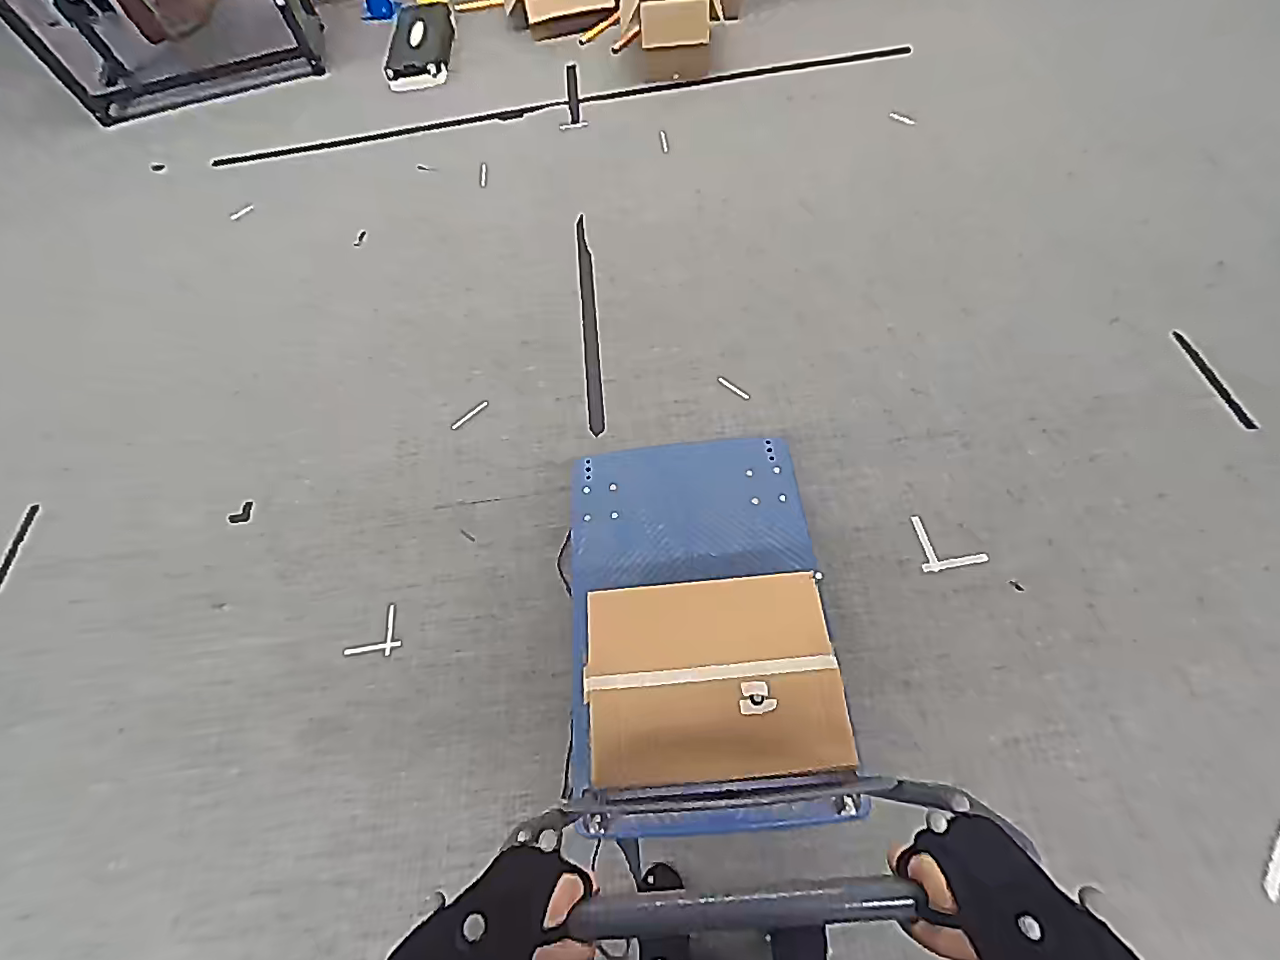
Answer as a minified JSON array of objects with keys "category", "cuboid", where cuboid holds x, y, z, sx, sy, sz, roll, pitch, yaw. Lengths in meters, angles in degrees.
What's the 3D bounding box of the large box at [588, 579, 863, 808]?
[{"category":"large box","cuboid":[0.128,0.398,0.993,0.408,0.320,0.320,-6,61,2]}]
